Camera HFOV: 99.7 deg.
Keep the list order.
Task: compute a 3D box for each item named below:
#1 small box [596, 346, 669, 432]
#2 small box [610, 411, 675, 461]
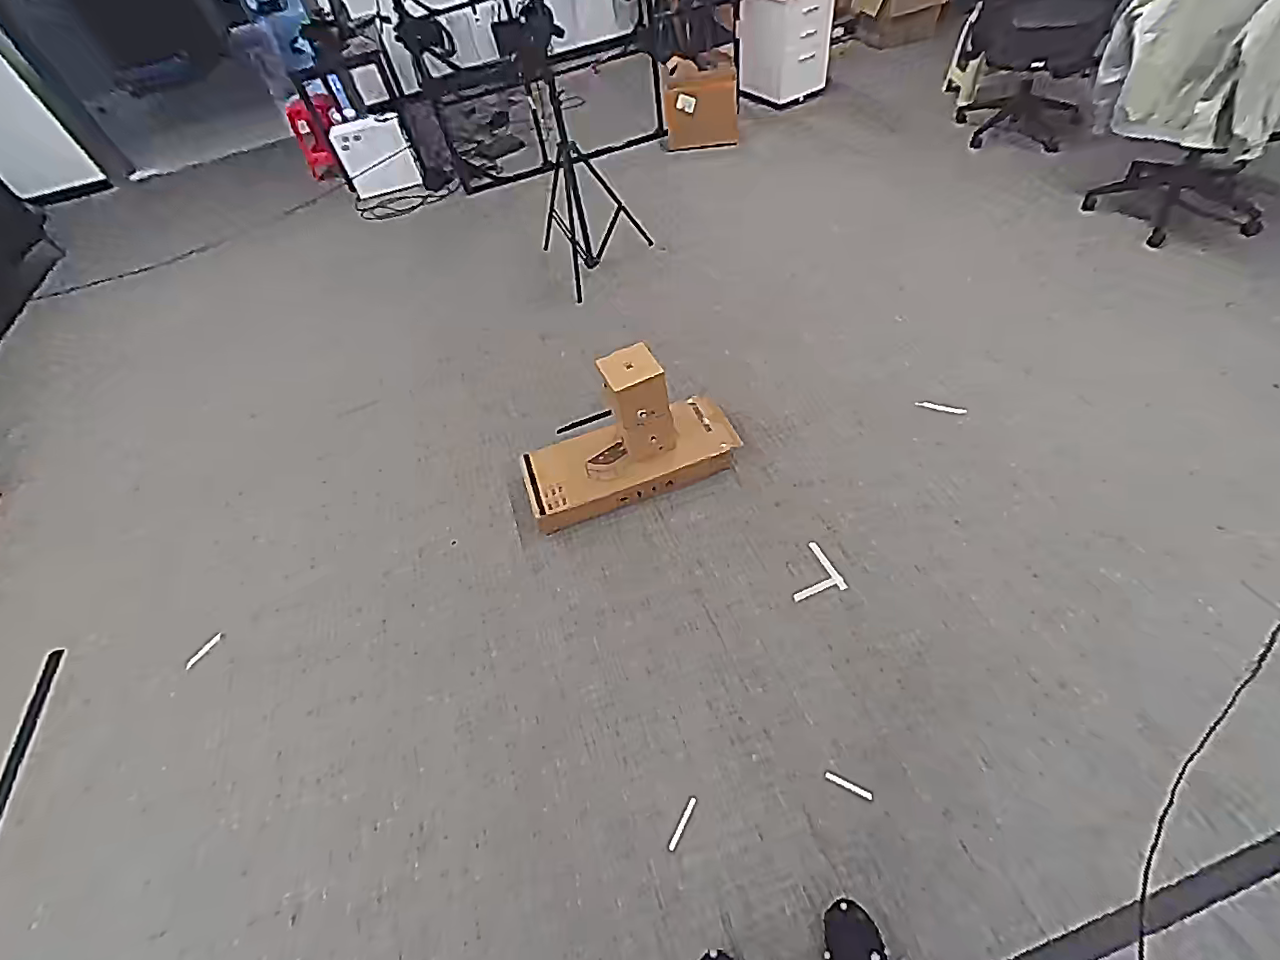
[{"bbox_3d":[-0.022,-0.285,1.708,0.168,0.176,0.179,-24,52,-9],"label":"small box"},{"bbox_3d":[0.009,-0.186,1.834,0.168,0.176,0.179,-22,51,-8],"label":"small box"}]
